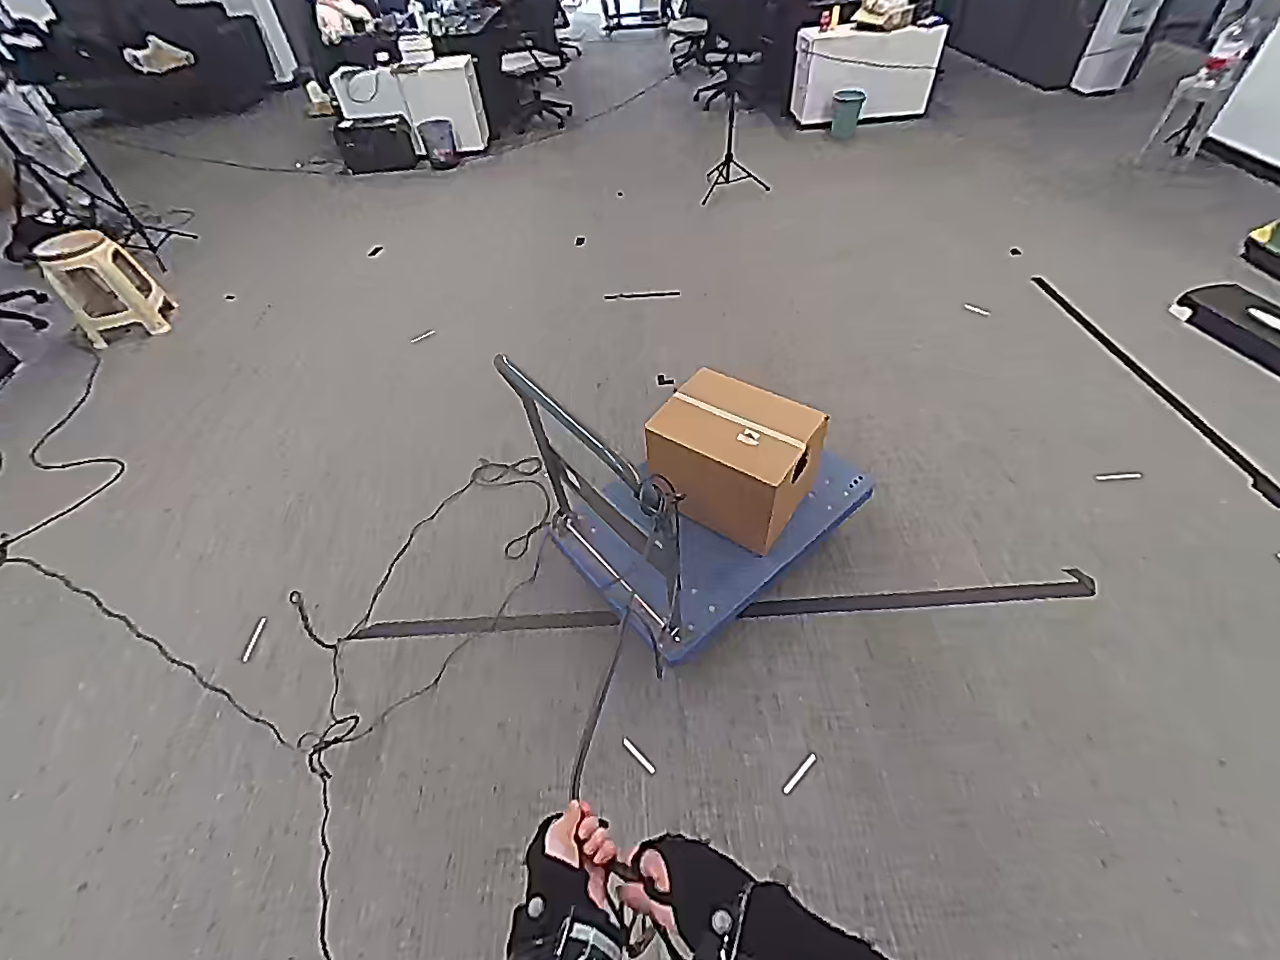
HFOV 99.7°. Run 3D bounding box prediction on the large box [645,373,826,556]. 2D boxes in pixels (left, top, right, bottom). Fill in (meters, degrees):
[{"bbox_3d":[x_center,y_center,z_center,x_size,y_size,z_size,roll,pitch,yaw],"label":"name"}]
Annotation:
[{"bbox_3d":[0.263,-0.051,1.577,0.408,0.320,0.320,27,56,24],"label":"large box"}]
